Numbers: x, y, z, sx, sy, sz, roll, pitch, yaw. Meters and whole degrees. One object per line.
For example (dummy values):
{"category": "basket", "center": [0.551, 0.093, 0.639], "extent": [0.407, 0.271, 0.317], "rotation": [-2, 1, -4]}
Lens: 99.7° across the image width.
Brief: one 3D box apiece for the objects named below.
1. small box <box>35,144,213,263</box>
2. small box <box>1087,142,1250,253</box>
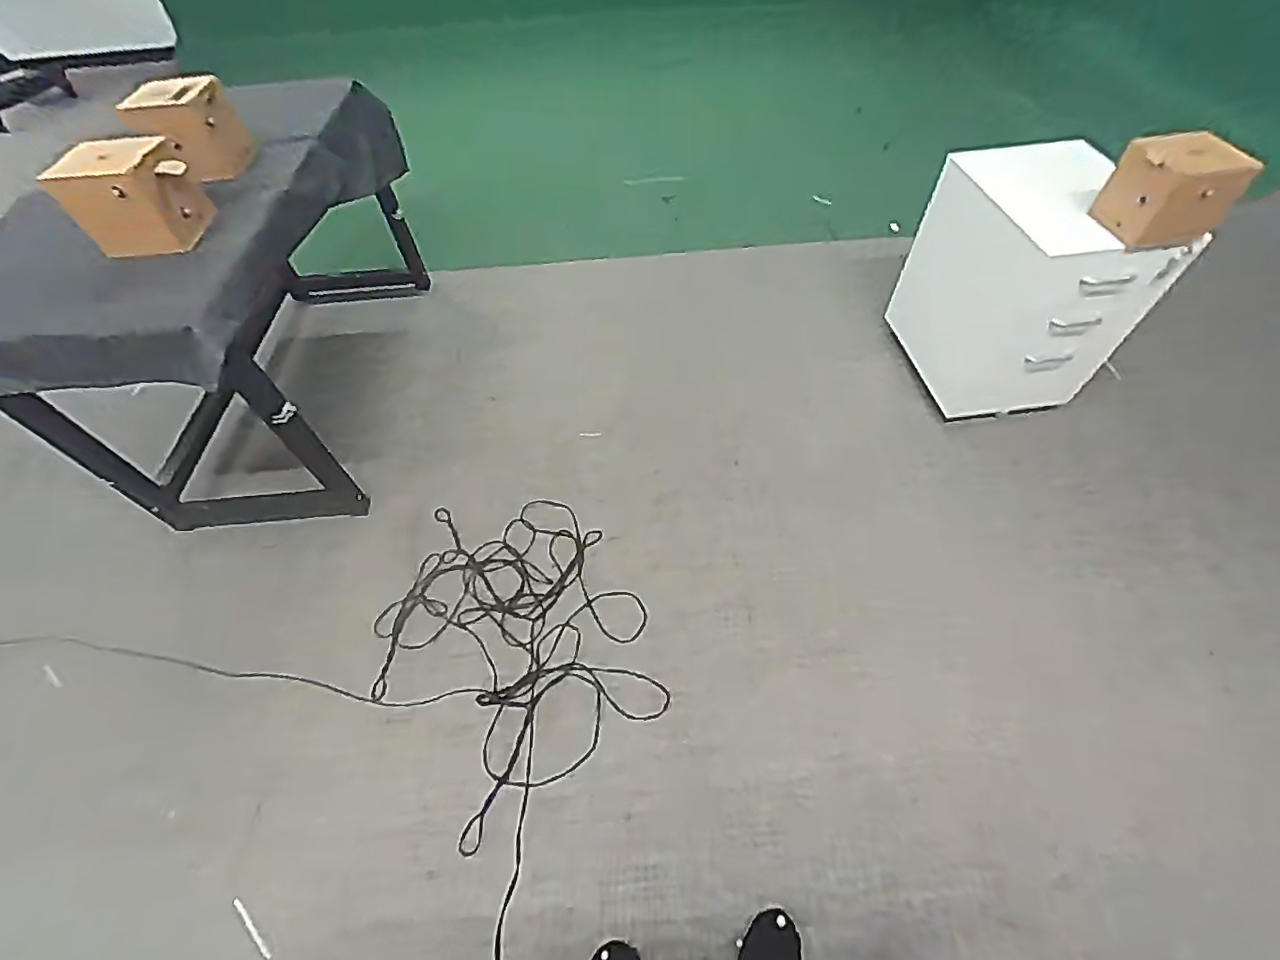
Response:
{"category": "small box", "center": [-1.065, -0.576, 1.136], "extent": [0.179, 0.176, 0.168], "rotation": [-5, 53, -1]}
{"category": "small box", "center": [1.174, -0.635, 1.226], "extent": [0.179, 0.176, 0.168], "rotation": [-7, 54, -3]}
